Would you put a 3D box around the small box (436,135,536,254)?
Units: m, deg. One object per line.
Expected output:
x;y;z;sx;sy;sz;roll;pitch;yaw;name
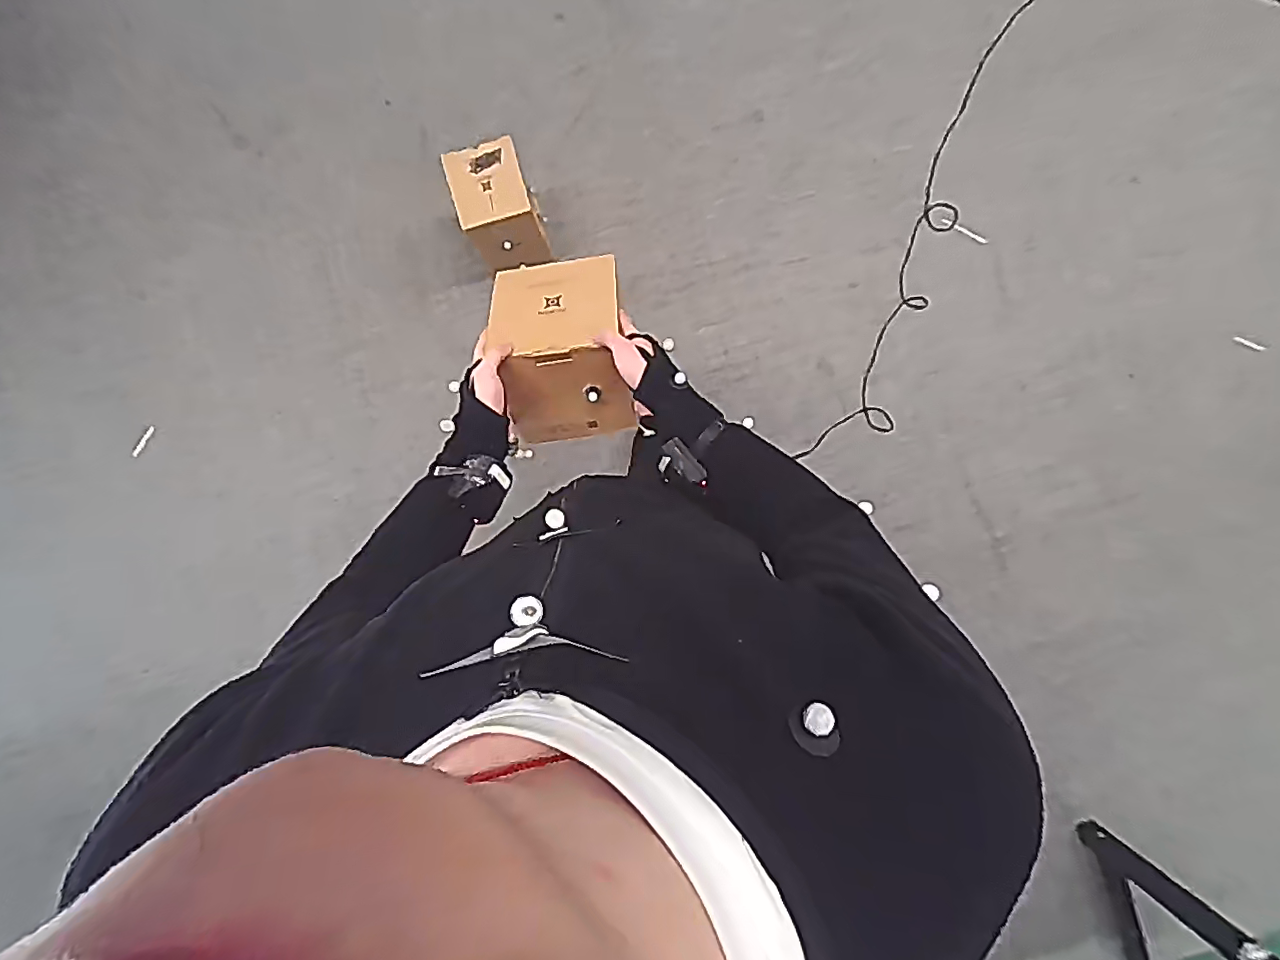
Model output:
-0.357;-0.667;1.281;0.168;0.176;0.179;-14;91;1;small box

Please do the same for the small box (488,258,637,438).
-0.098;-0.172;0.749;0.168;0.176;0.179;-7;55;3;small box

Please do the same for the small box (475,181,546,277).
-0.363;-0.678;1.467;0.179;0.176;0.168;-18;93;-1;small box
